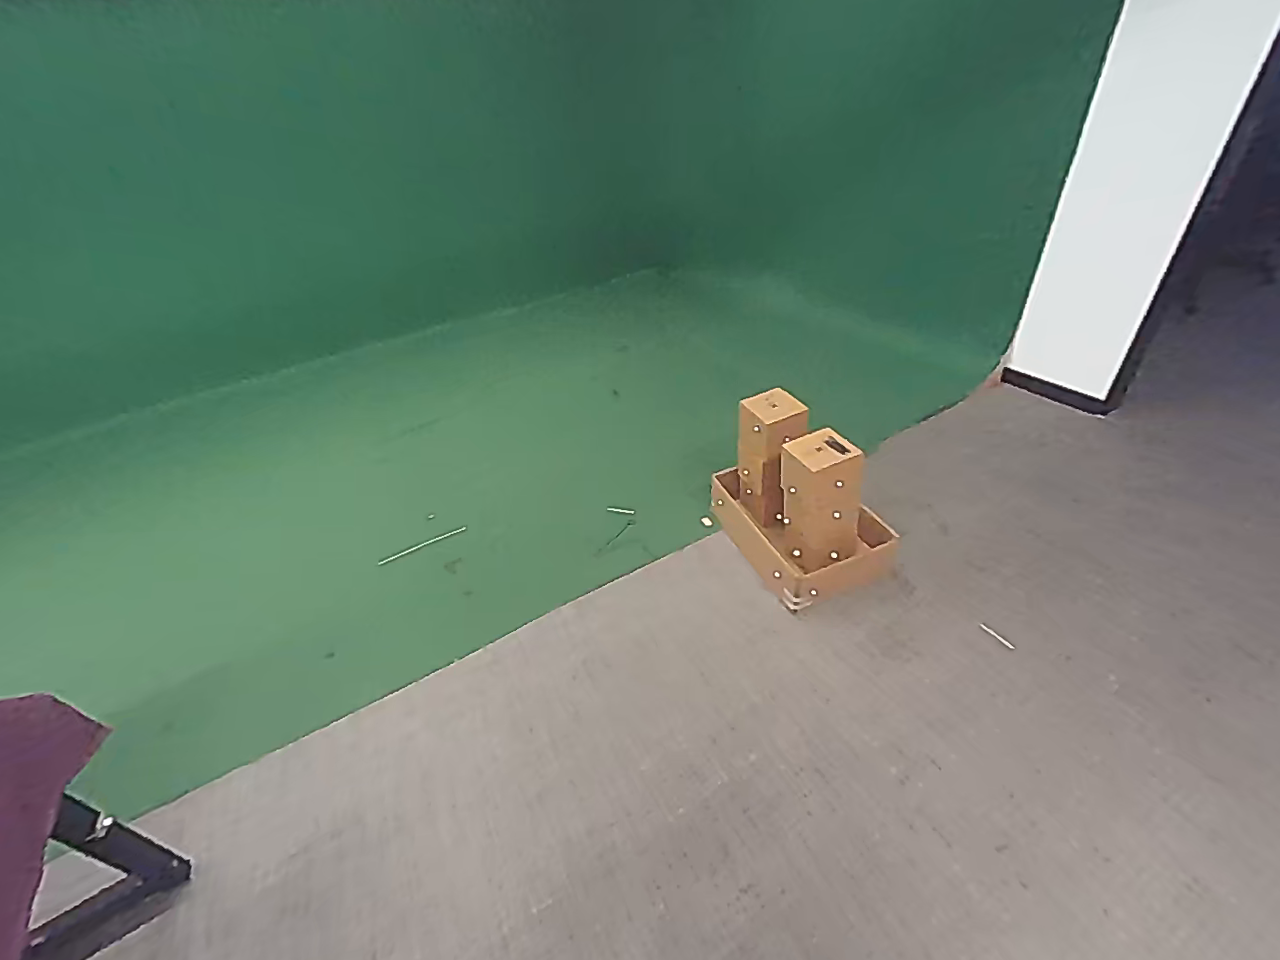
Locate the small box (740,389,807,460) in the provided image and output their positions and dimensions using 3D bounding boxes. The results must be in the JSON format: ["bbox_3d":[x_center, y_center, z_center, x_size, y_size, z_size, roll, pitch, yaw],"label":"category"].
[{"bbox_3d":[0.464,-0.188,1.893,0.168,0.176,0.179,-19,40,-14],"label":"small box"}]

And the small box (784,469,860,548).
[{"bbox_3d":[0.590,0.095,1.774,0.179,0.176,0.168,-19,38,-14],"label":"small box"}]

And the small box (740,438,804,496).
[{"bbox_3d":[0.482,-0.070,2.008,0.179,0.176,0.168,-19,40,-12],"label":"small box"}]
